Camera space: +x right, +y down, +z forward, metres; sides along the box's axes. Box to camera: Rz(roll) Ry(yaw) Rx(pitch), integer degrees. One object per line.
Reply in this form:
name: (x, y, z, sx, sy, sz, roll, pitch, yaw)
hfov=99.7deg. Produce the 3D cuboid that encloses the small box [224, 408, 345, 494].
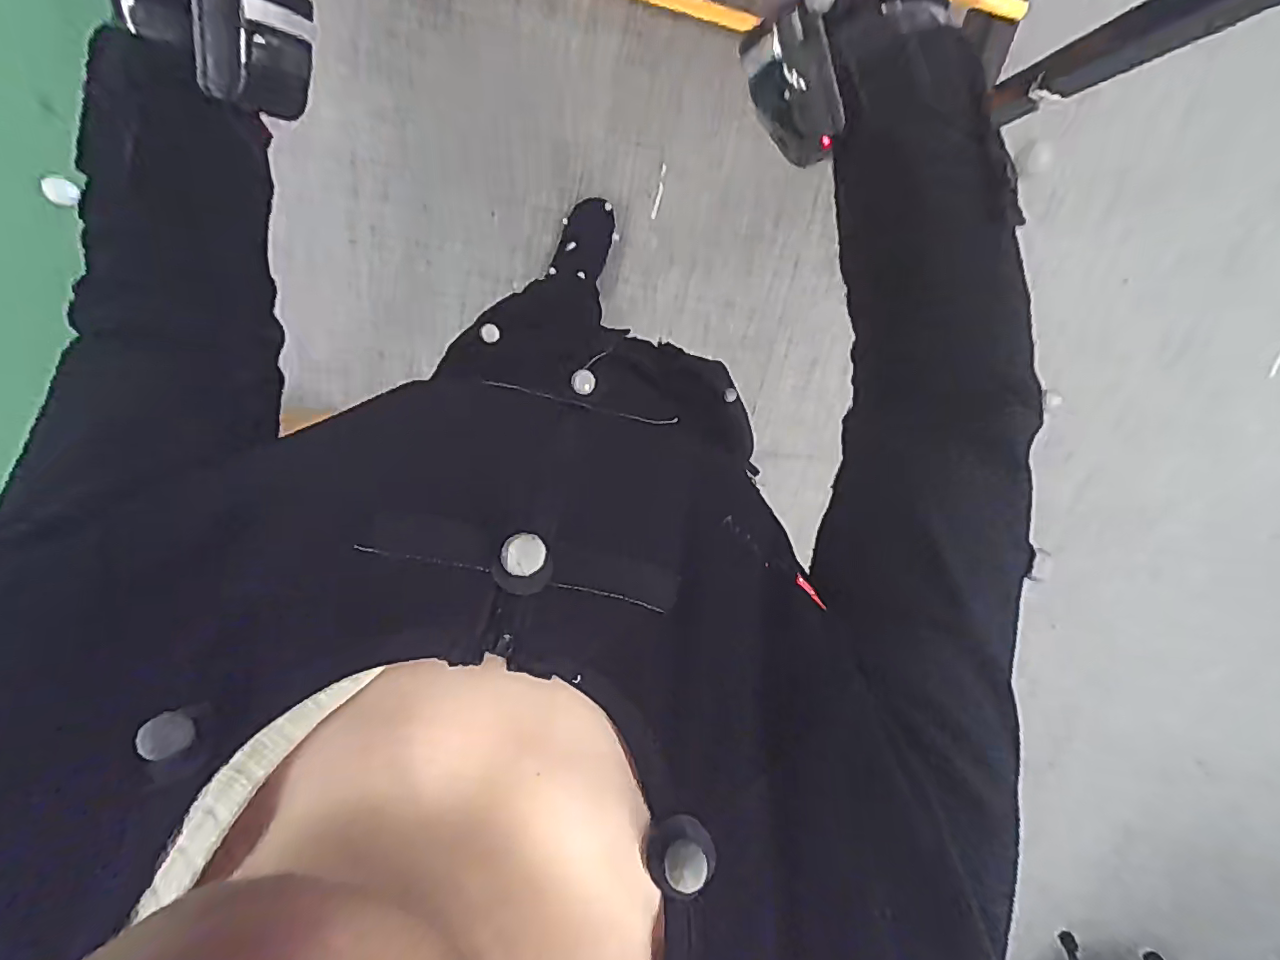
small box: (-0.827, -0.072, 1.285, 0.179, 0.176, 0.168, 3, 110, 0)
